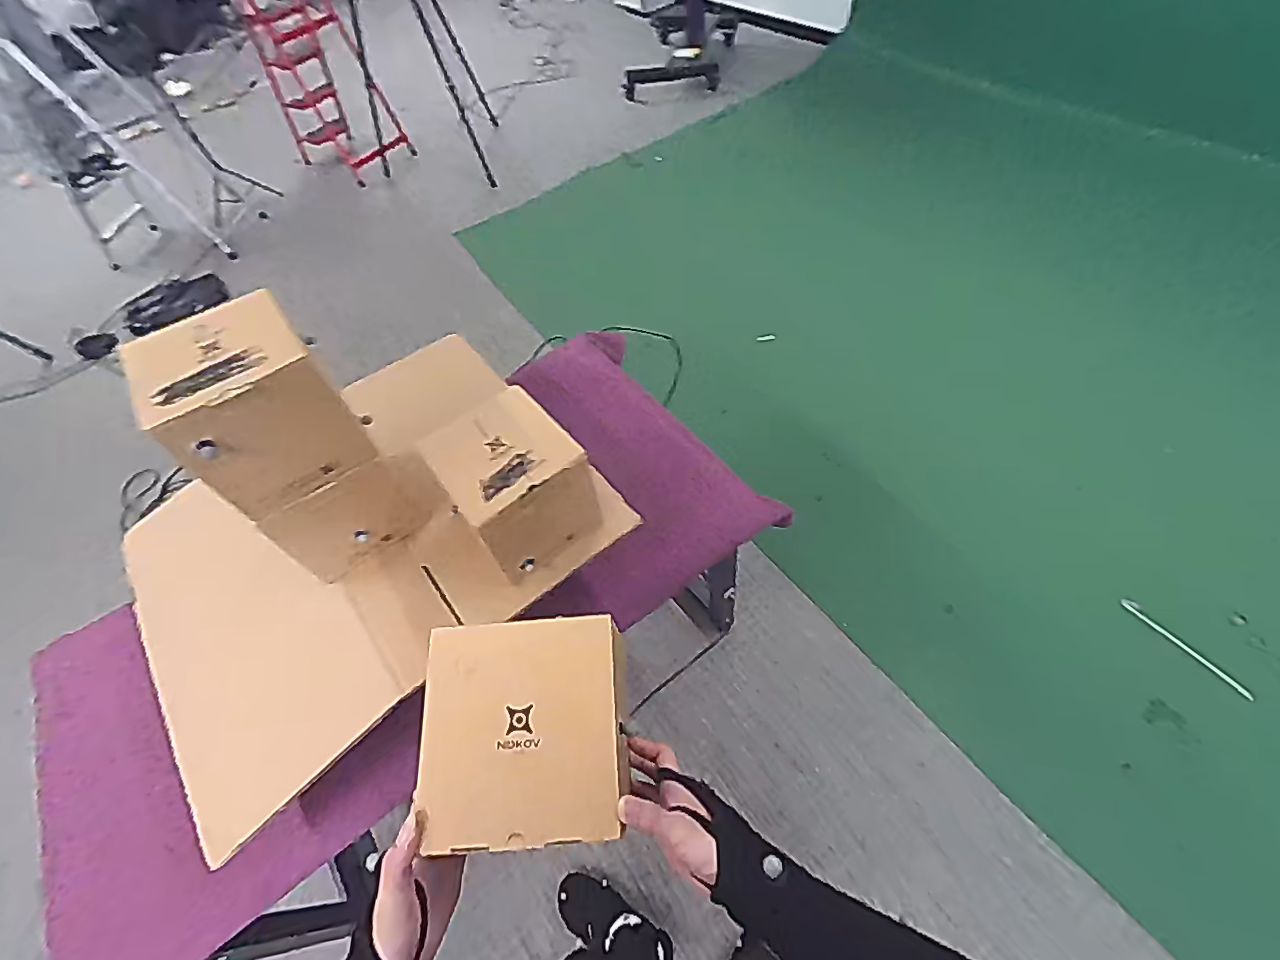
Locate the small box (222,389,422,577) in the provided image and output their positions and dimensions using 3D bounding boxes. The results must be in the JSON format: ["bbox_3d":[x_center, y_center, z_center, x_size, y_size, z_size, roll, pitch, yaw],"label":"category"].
[{"bbox_3d":[-0.450,0.008,0.784,0.168,0.176,0.179,-34,59,-18],"label":"small box"}]

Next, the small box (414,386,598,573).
[{"bbox_3d":[-0.178,0.008,0.762,0.168,0.176,0.179,-35,58,-19],"label":"small box"}]
